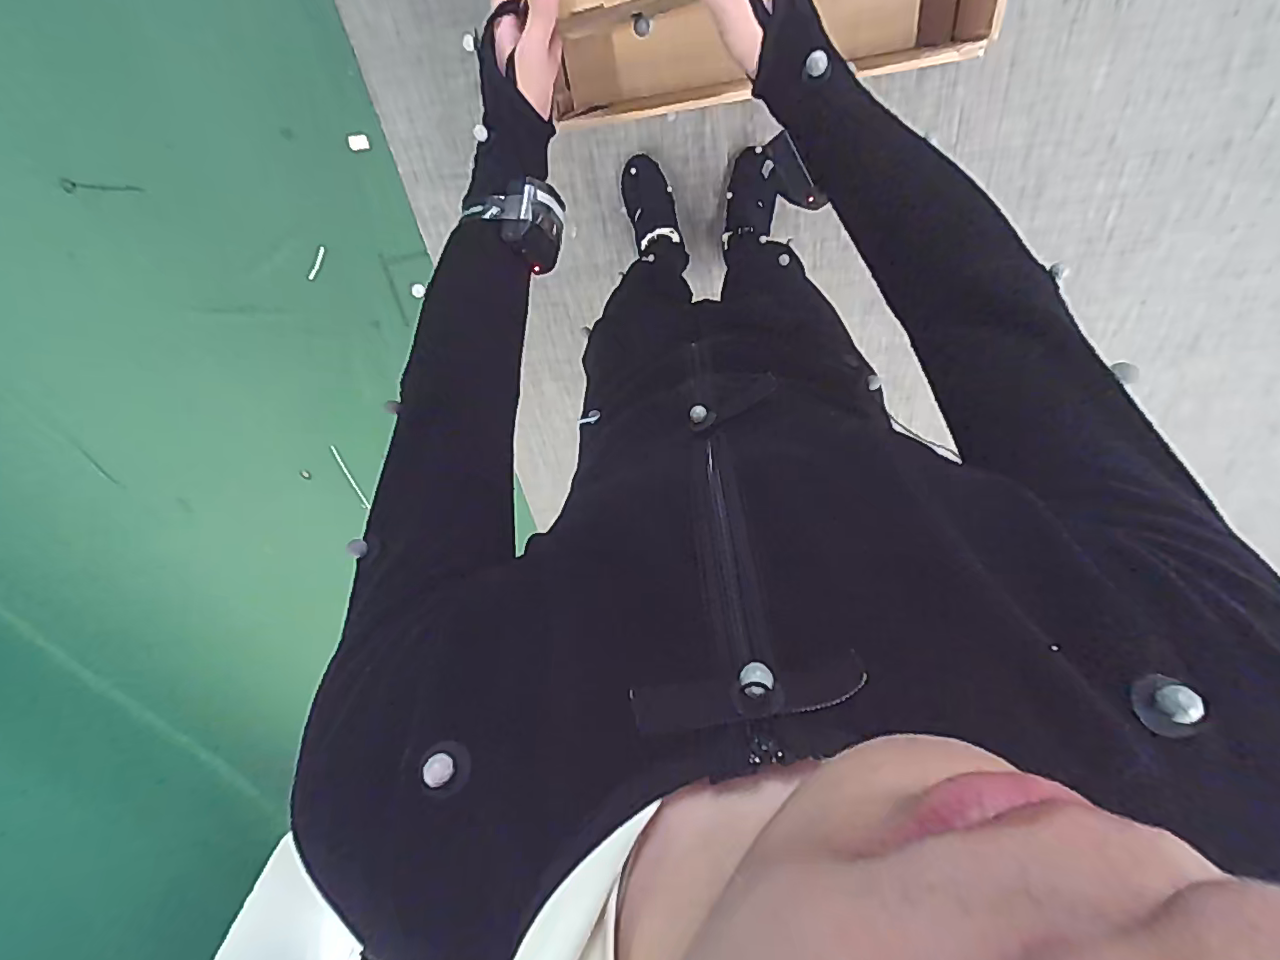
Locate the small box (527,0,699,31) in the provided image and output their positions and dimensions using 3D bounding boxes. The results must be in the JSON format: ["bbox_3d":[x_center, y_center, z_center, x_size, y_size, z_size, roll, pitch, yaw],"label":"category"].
[{"bbox_3d":[-0.020,-0.505,0.446,0.168,0.176,0.179,-6,126,11],"label":"small box"}]

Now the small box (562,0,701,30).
[{"bbox_3d":[-0.009,-0.609,0.581,0.179,0.176,0.168,-7,127,10],"label":"small box"}]

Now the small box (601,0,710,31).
[{"bbox_3d":[0.005,-0.711,0.708,0.179,0.176,0.168,-5,128,9],"label":"small box"}]
